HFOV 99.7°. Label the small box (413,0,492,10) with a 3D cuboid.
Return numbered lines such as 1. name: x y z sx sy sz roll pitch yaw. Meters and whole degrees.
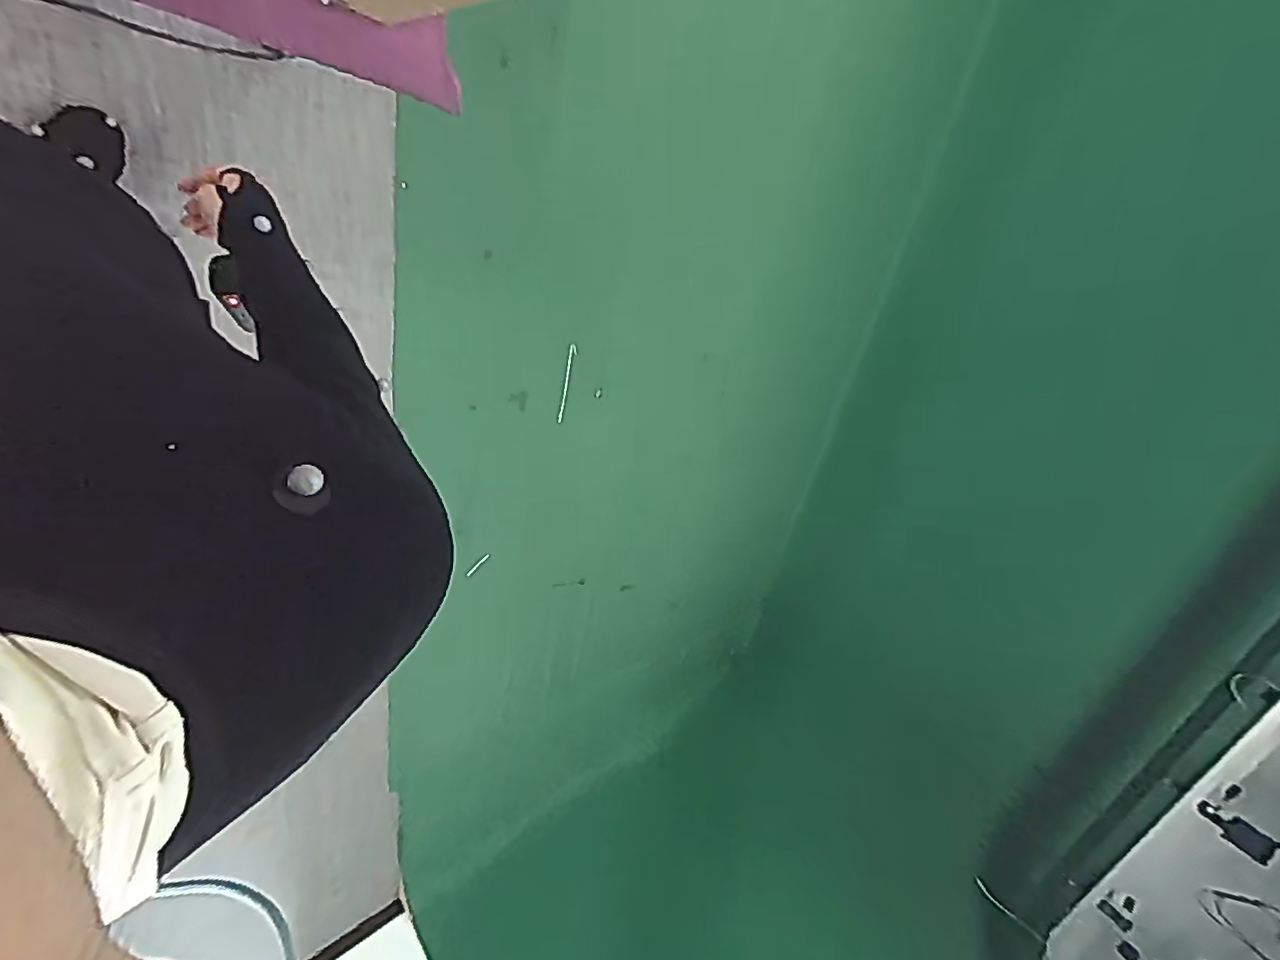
1. small box: -0.200 -0.548 0.458 0.168 0.176 0.179 -8 121 -43
